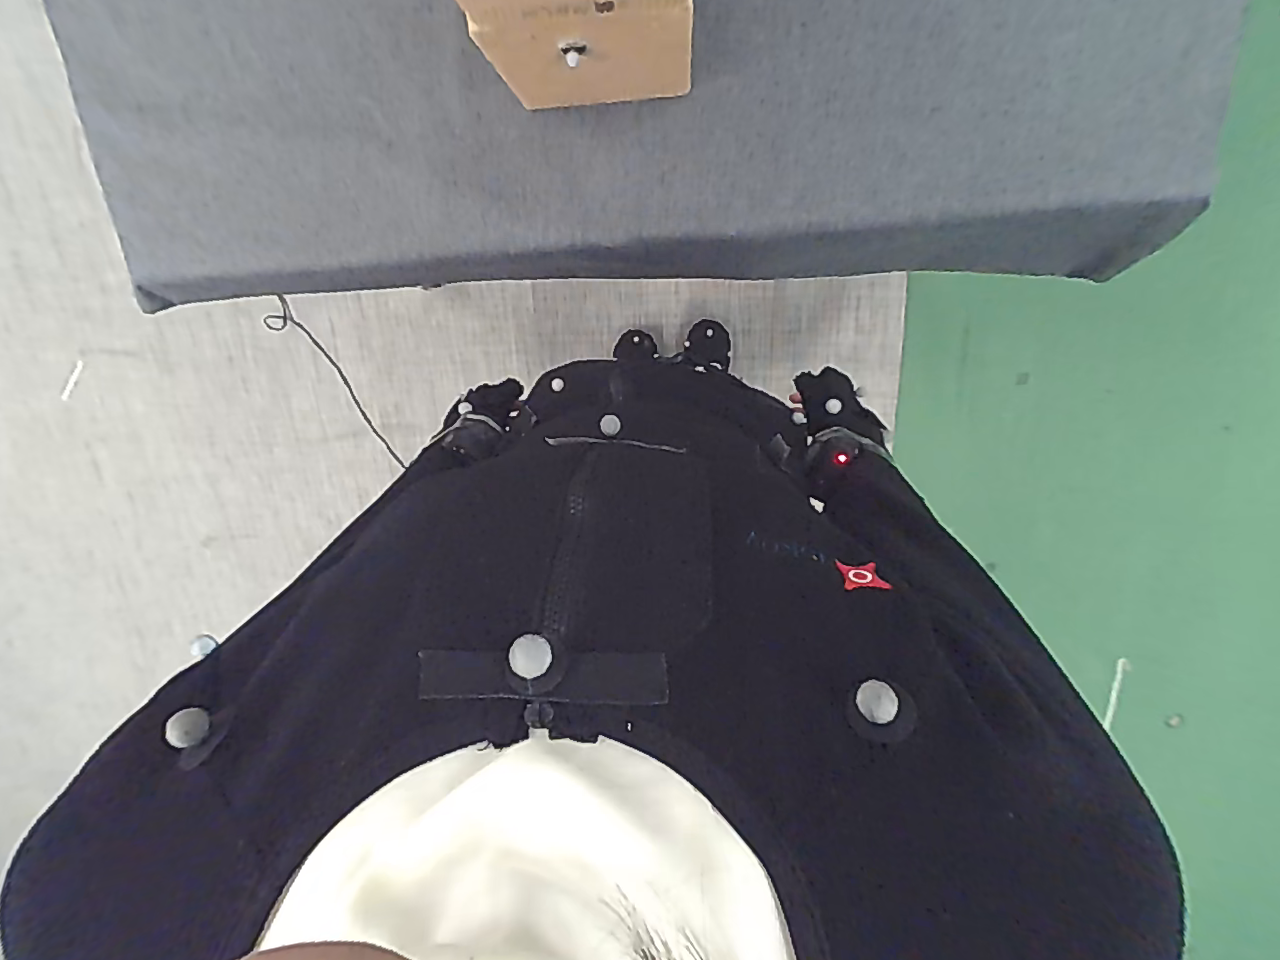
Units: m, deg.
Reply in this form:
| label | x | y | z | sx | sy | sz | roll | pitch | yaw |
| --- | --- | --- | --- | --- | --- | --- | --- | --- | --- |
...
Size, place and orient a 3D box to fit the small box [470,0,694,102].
| label | x | y | z | sx | sy | sz | roll | pitch | yaw |
| --- | --- | --- | --- | --- | --- | --- | --- | --- | --- |
| small box | -0.042 | -0.460 | 0.475 | 0.179 | 0.176 | 0.168 | -2 | 107 | 5 |

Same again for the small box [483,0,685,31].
| label | x | y | z | sx | sy | sz | roll | pitch | yaw |
| --- | --- | --- | --- | --- | --- | --- | --- | --- | --- |
| small box | -0.051 | -0.417 | 0.320 | 0.168 | 0.176 | 0.179 | -3 | 107 | 5 |
